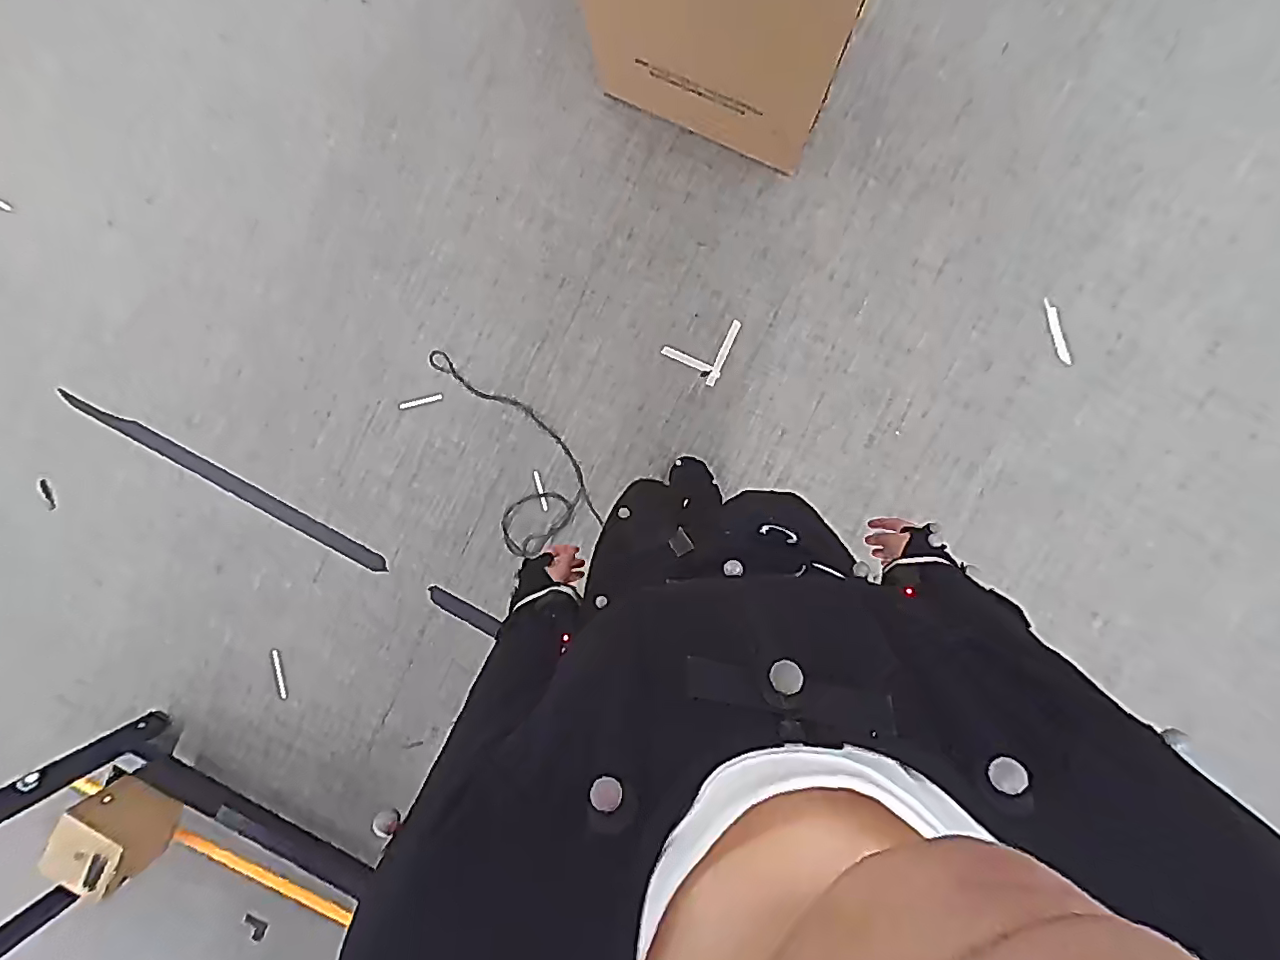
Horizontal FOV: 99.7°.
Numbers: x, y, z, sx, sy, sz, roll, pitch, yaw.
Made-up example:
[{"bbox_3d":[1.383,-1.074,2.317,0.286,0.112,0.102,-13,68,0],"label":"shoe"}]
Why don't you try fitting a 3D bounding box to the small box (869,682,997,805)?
[{"bbox_3d":[0.678,0.607,1.272,0.179,0.176,0.168,27,94,4],"label":"small box"}]
